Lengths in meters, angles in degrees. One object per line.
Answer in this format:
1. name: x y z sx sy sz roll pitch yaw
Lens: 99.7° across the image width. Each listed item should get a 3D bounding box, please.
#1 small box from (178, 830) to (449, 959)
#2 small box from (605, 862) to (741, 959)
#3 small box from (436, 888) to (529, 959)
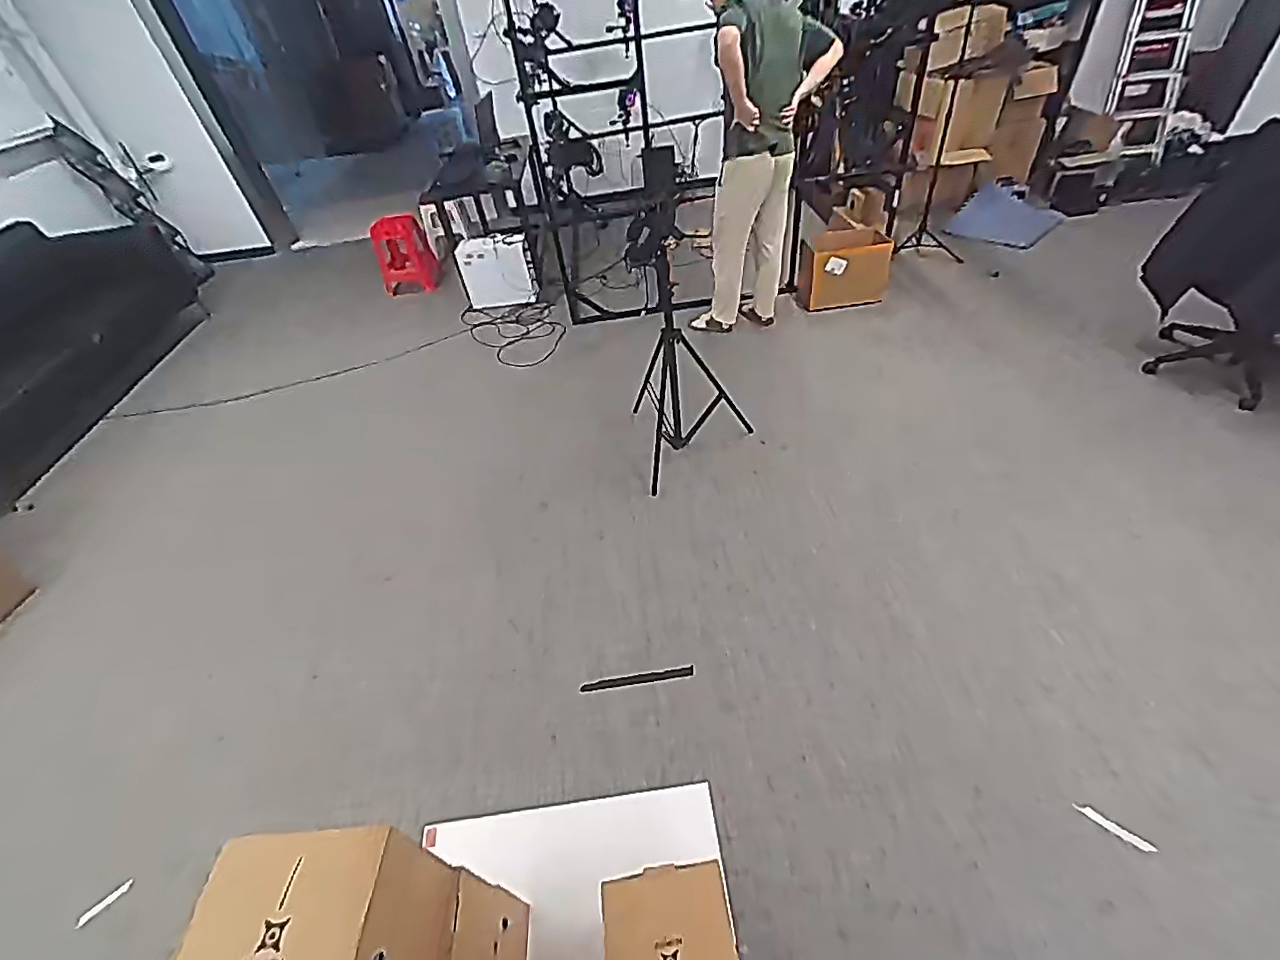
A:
1. small box: -0.300 0.456 0.508 0.168 0.176 0.179 -6 42 3
2. small box: 0.051 0.647 0.723 0.168 0.176 0.179 -11 43 0
3. small box: -0.254 0.687 0.737 0.168 0.176 0.179 -8 43 1
